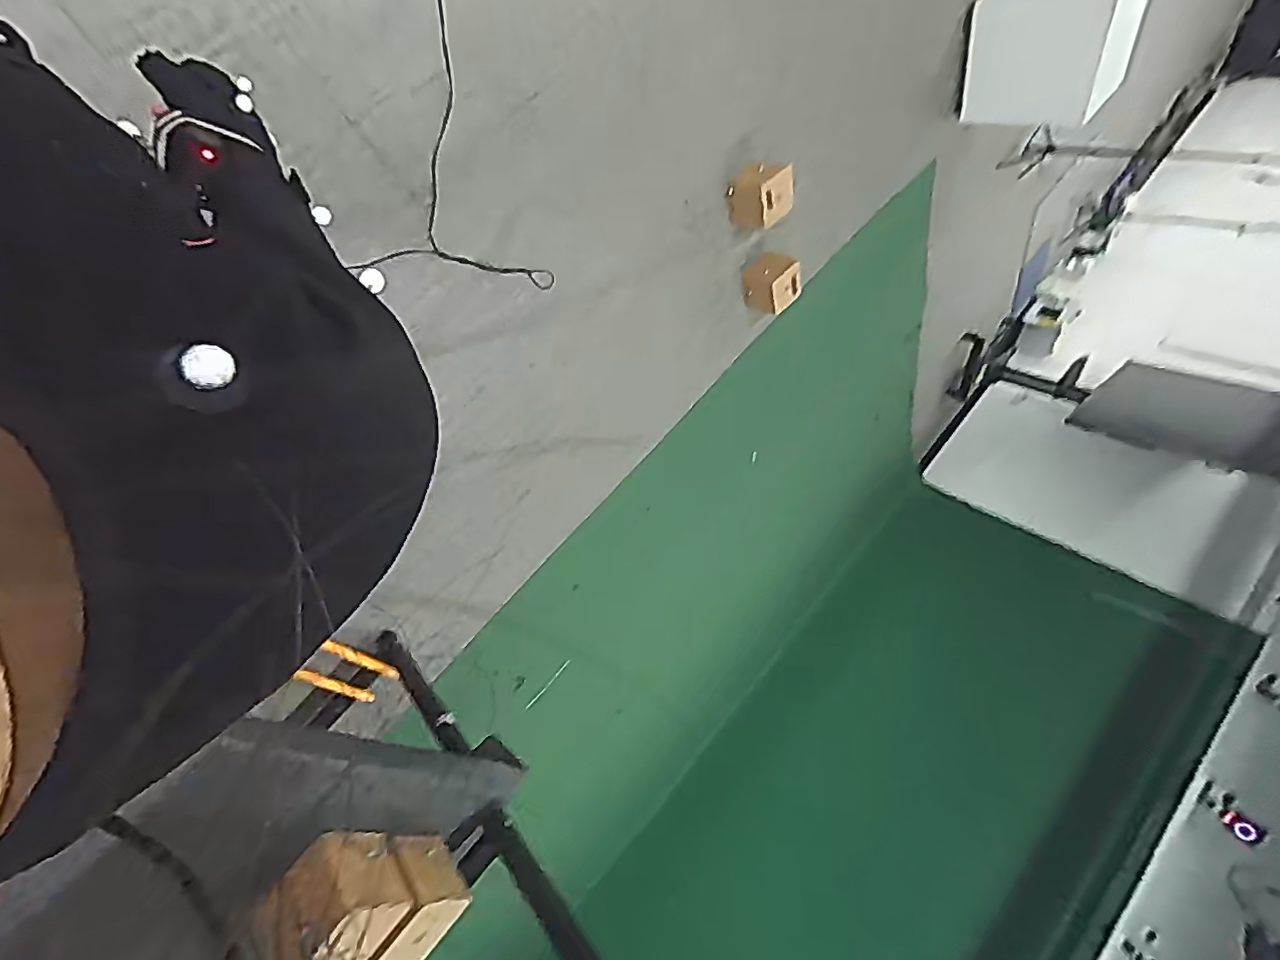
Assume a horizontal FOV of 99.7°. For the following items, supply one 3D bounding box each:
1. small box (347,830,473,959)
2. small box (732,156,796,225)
[{"bbox_3d":[-0.513,0.917,1.192,0.179,0.176,0.168,-48,142,-10],"label":"small box"},{"bbox_3d":[0.454,-1.074,2.001,0.179,0.176,0.168,-43,141,-18],"label":"small box"}]
